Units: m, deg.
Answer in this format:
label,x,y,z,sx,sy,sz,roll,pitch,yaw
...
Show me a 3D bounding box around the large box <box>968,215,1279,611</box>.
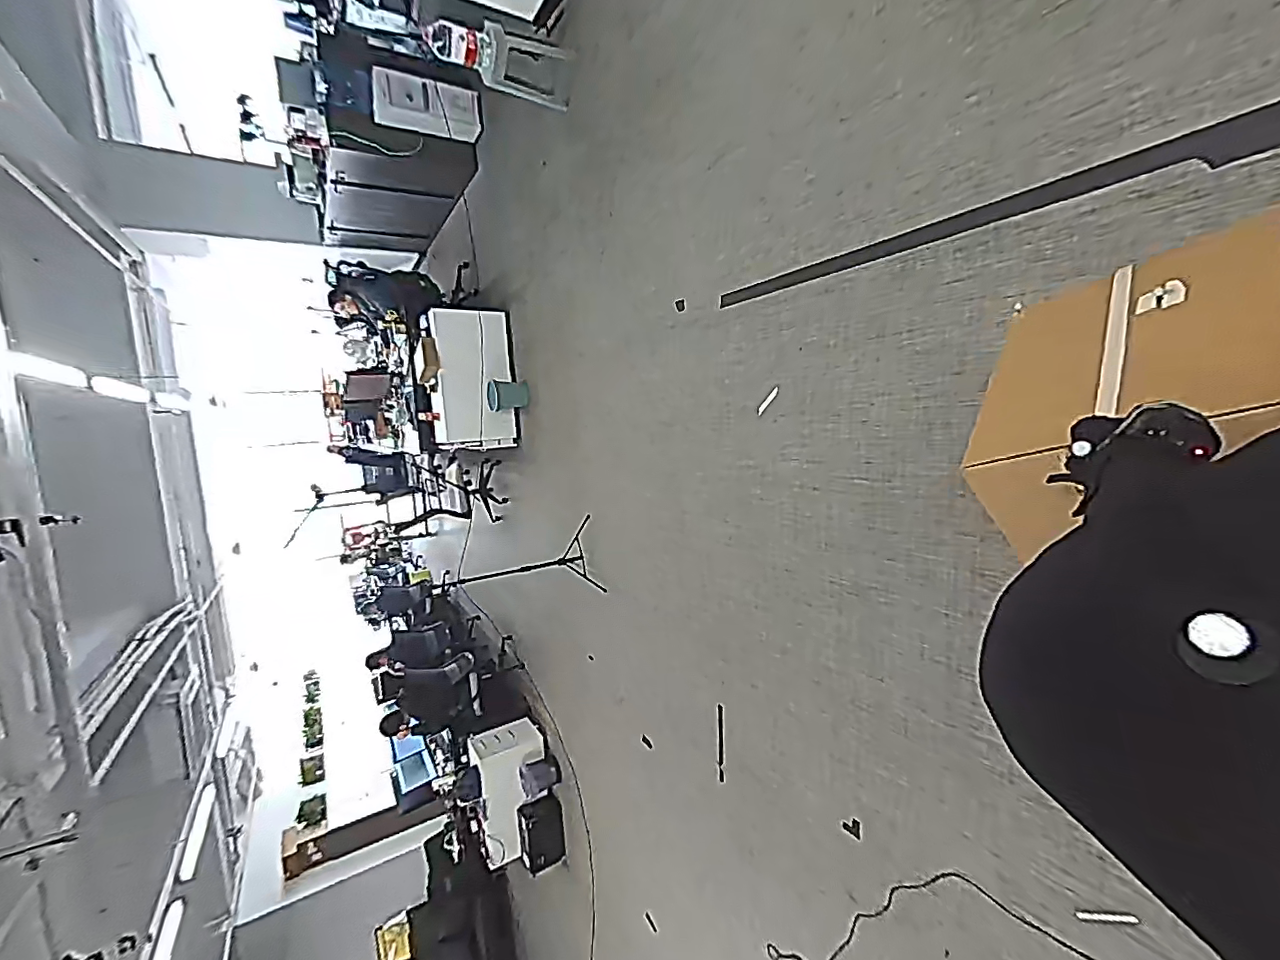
label,x,y,z,sx,sy,sz,roll,pitch,yaw
large box,0.730,-0.072,0.751,0.320,0.408,0.320,48,149,-15
